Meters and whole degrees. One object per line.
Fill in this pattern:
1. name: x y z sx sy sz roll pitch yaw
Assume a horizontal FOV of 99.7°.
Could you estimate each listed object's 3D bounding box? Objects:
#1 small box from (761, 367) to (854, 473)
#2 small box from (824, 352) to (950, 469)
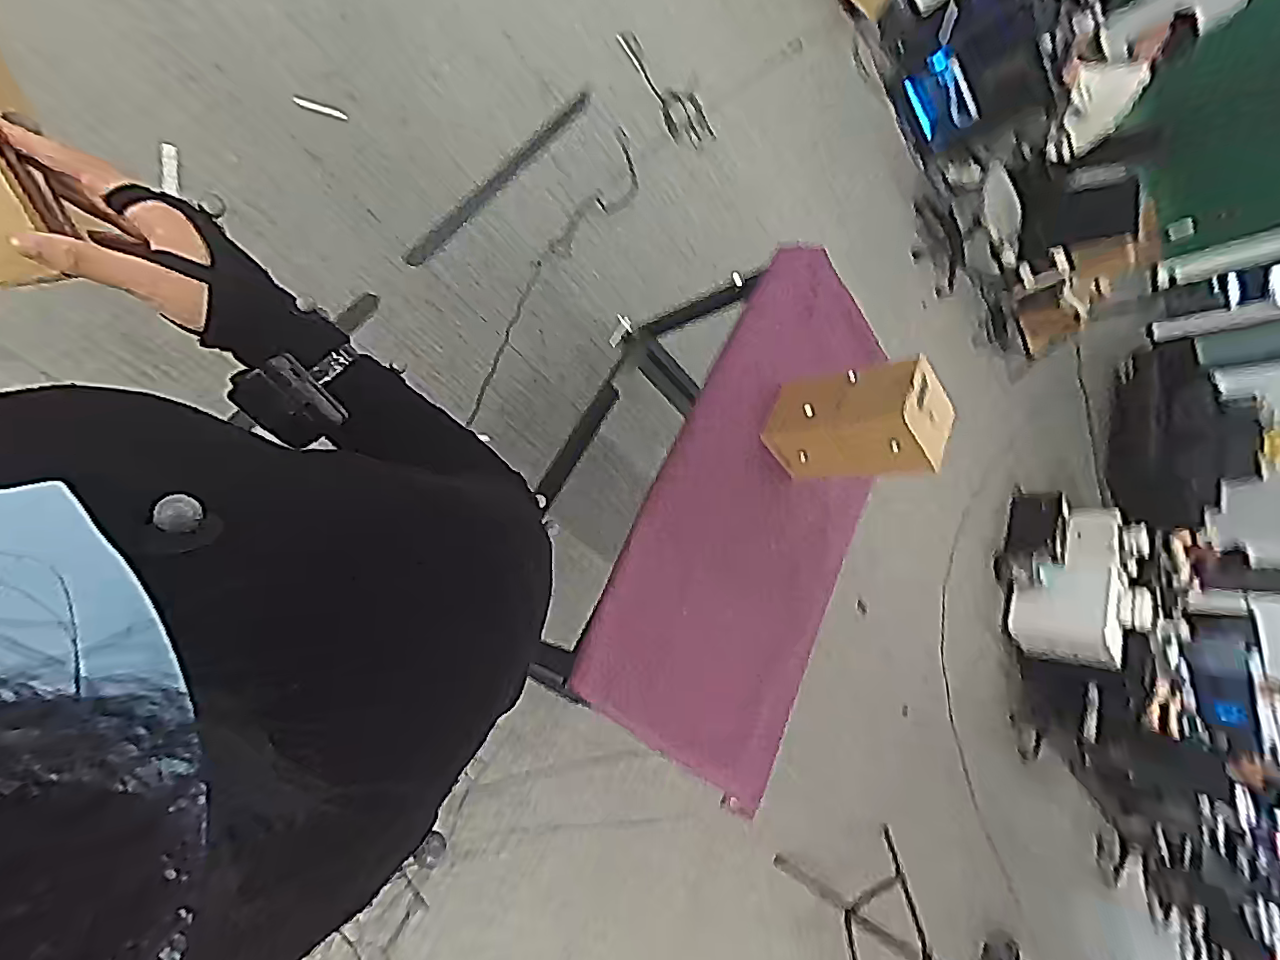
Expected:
1. small box: 0.408 -0.130 1.257 0.168 0.176 0.179 45 62 -28
2. small box: 0.515 -0.133 1.132 0.179 0.176 0.168 43 63 -29
